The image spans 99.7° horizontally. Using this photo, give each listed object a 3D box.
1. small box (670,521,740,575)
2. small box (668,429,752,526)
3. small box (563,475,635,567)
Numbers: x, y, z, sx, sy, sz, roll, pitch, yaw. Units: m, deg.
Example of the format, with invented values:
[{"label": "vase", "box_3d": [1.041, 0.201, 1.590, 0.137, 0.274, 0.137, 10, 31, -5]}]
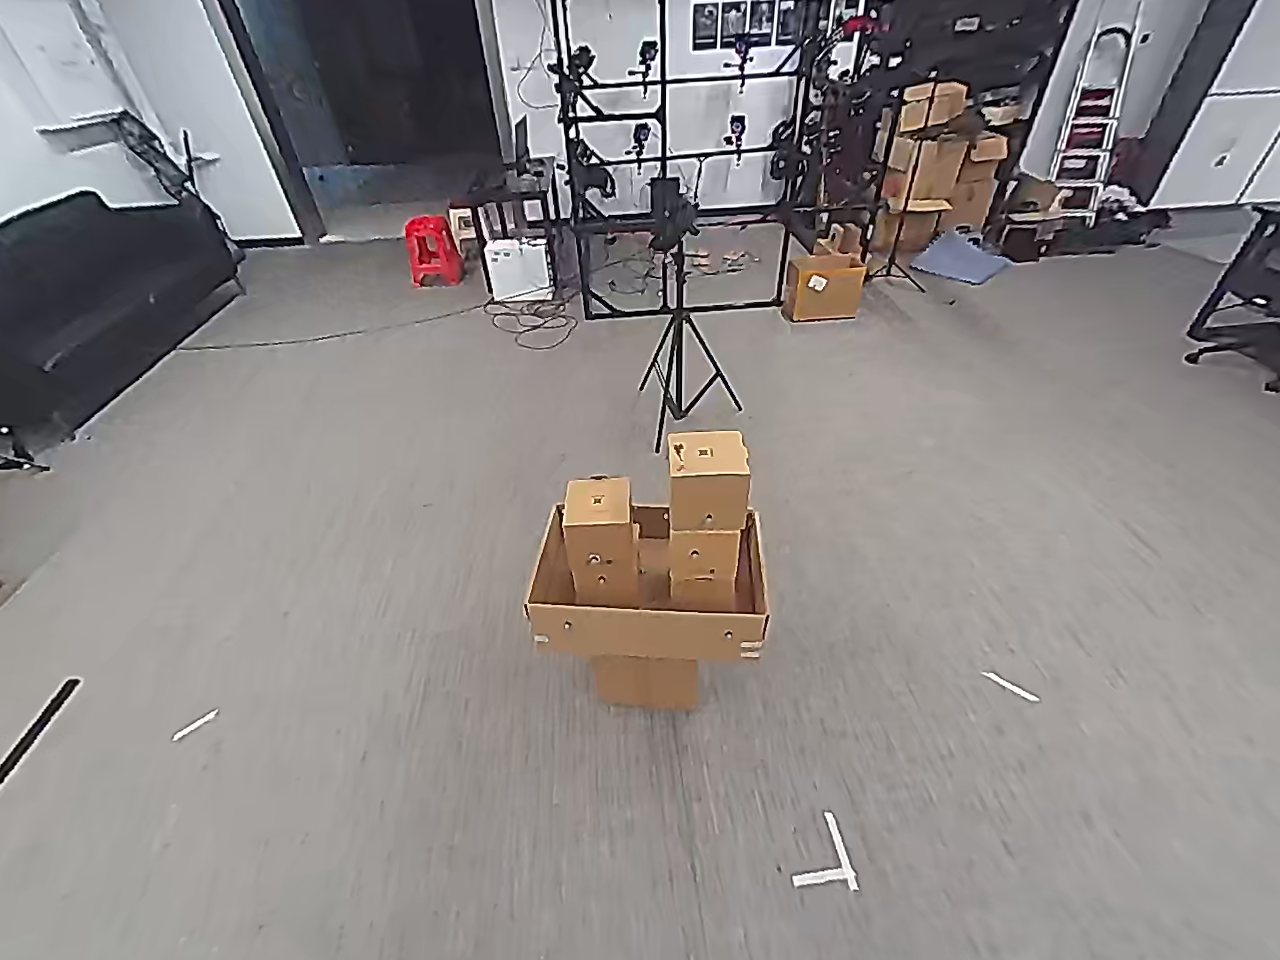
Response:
[{"label": "small box", "box_3d": [0.161, 0.124, 1.368, 0.168, 0.176, 0.179, 0, 39, 4]}, {"label": "small box", "box_3d": [0.157, -0.004, 1.266, 0.179, 0.176, 0.168, -1, 39, 2]}, {"label": "small box", "box_3d": [-0.101, 0.106, 1.406, 0.168, 0.176, 0.179, -3, 39, 1]}]
